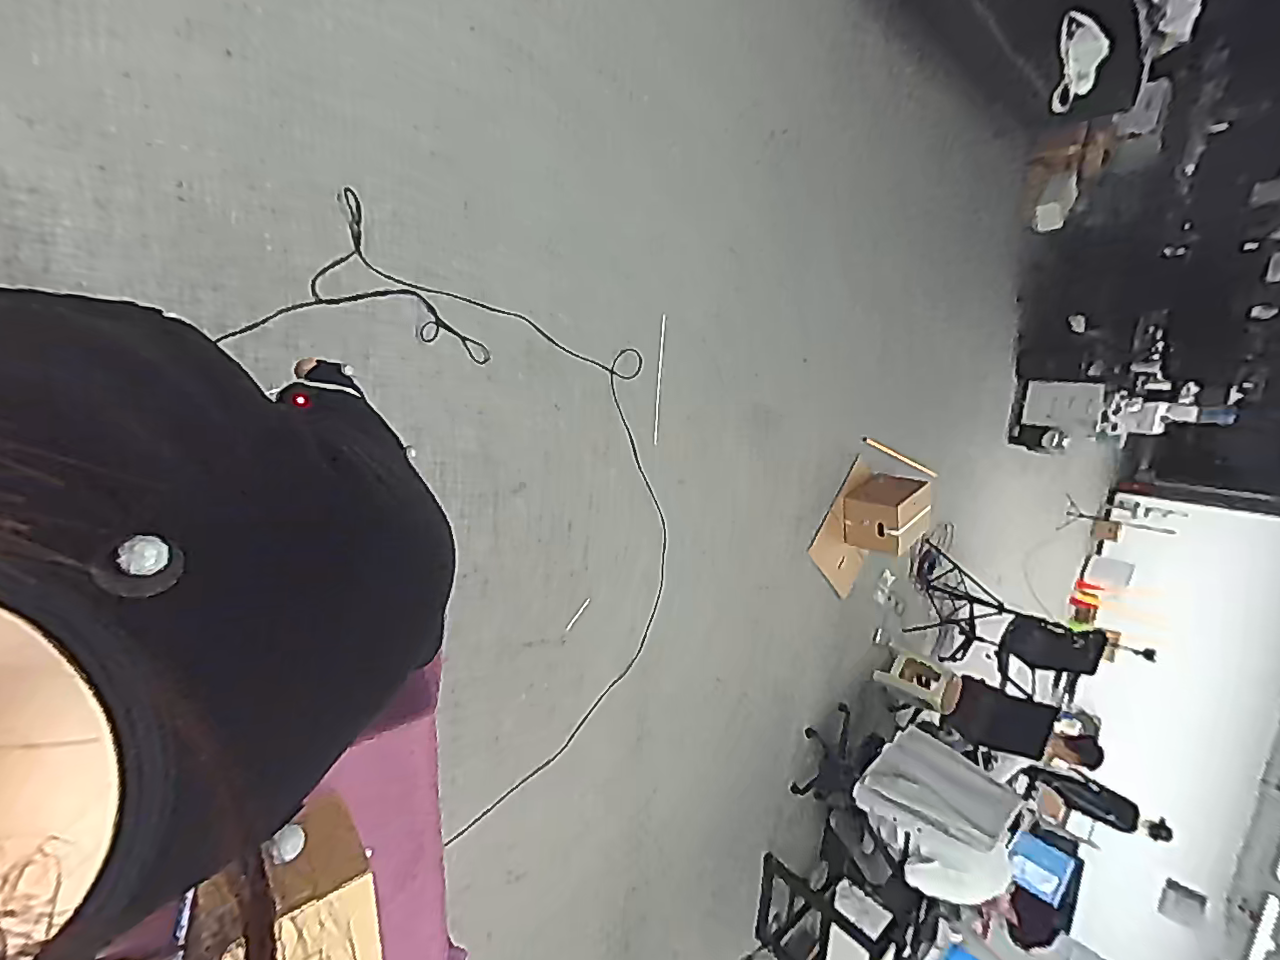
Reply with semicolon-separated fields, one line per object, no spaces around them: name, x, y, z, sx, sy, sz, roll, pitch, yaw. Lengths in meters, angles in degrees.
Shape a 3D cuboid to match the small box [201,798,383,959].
small box;-0.450;0.555;0.701;0.168;0.176;0.179;-10;108;-40
